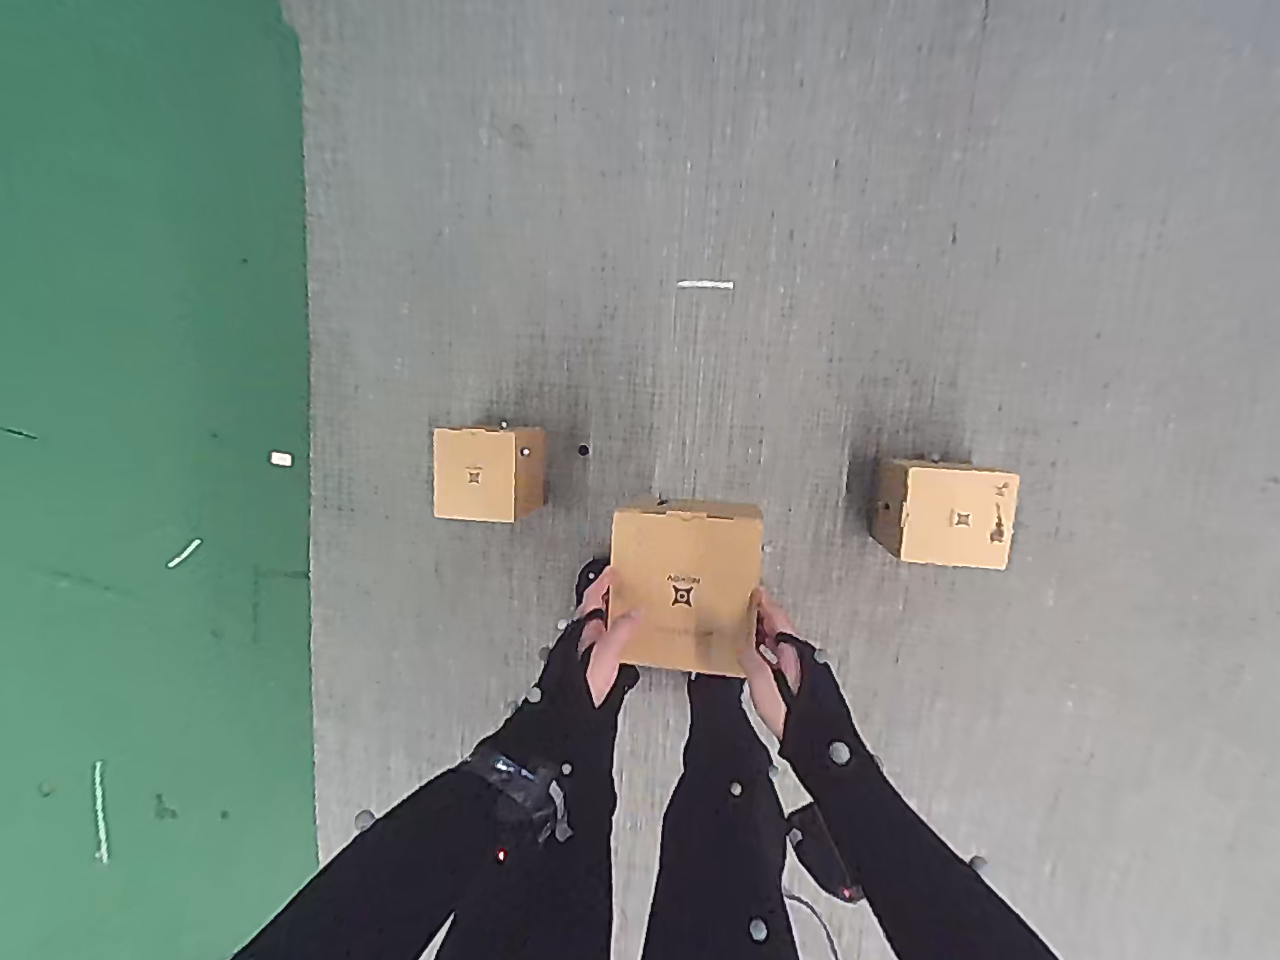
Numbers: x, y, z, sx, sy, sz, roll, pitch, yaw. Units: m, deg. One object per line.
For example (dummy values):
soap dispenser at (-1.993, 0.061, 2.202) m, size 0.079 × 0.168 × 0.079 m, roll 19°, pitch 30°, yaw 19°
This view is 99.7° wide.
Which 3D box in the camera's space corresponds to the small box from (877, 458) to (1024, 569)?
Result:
small box at (0.543, 0.051, 0.974) m, size 0.179 × 0.176 × 0.168 m, roll 5°, pitch 98°, yaw 8°

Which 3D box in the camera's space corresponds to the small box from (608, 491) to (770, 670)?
small box at (0.064, 0.108, 0.665) m, size 0.168 × 0.176 × 0.179 m, roll 4°, pitch 94°, yaw 10°

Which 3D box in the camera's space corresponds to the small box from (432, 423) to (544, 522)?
small box at (-0.298, -0.022, 1.087) m, size 0.168 × 0.176 × 0.179 m, roll 3°, pitch 96°, yaw 8°
